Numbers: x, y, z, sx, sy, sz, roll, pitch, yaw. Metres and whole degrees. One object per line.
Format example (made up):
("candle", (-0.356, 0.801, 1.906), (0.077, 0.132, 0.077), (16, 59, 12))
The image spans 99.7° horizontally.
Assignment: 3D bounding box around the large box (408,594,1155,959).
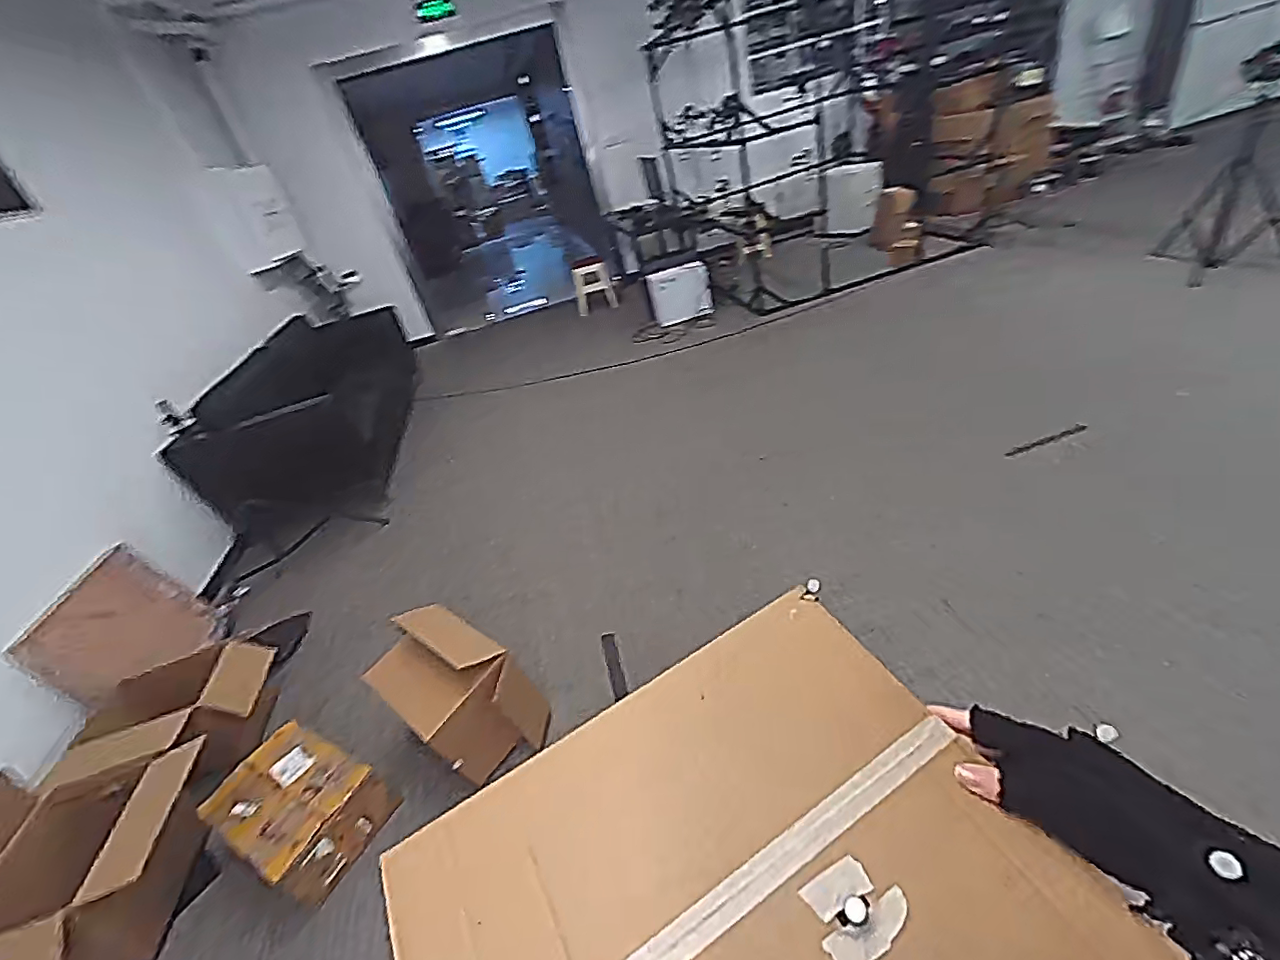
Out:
("large box", (0.085, 0.385, 0.466), (0.408, 0.320, 0.320), (-27, 46, -15))
